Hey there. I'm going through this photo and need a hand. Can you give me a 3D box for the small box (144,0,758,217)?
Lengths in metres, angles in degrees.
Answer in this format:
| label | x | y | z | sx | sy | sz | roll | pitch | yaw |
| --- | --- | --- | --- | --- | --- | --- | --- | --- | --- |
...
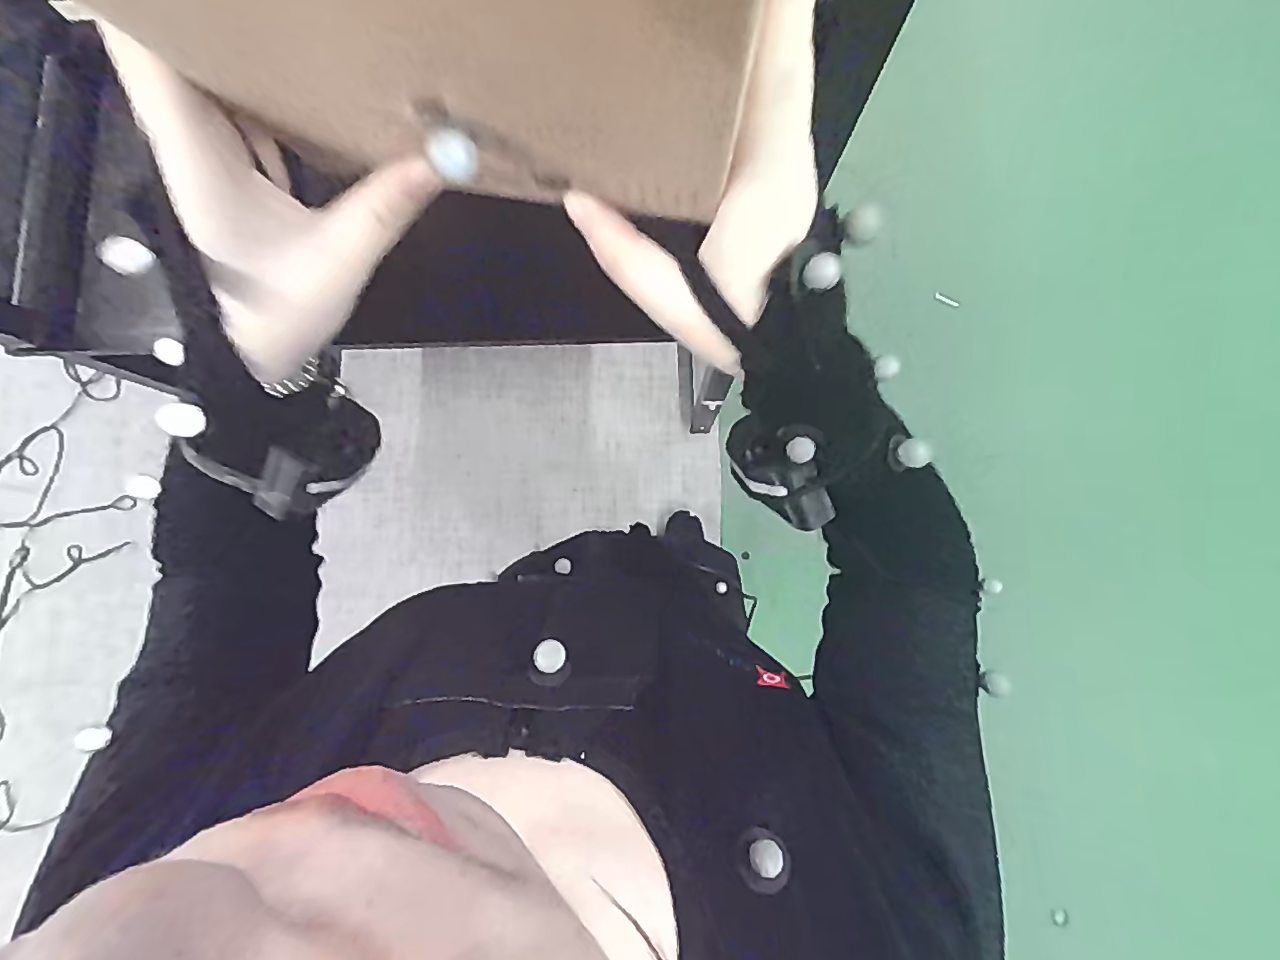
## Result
| label | x | y | z | sx | sy | sz | roll | pitch | yaw |
| --- | --- | --- | --- | --- | --- | --- | --- | --- | --- |
| small box | -0.043 | -0.191 | 0.127 | 0.168 | 0.176 | 0.179 | 10 | 98 | 4 |
